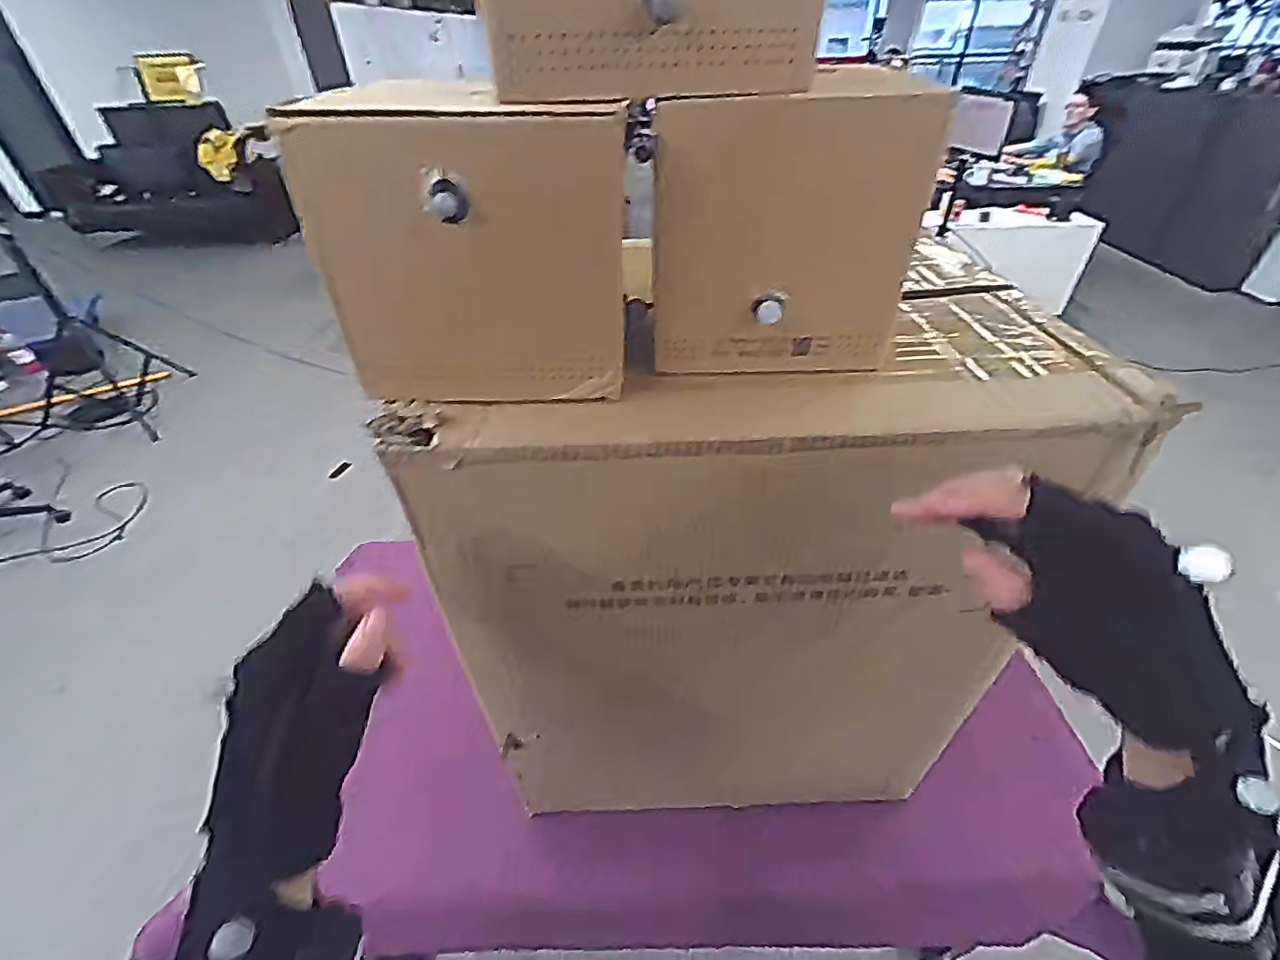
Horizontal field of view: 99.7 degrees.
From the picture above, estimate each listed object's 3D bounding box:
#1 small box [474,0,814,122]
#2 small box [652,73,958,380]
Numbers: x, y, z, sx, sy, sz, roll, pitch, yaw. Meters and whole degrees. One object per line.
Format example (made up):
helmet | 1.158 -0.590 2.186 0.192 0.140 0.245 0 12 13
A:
small box | -0.005 -0.311 0.297 0.179 0.176 0.168 -7 41 -7
small box | 0.093 -0.191 0.404 0.168 0.176 0.179 -1 42 3
